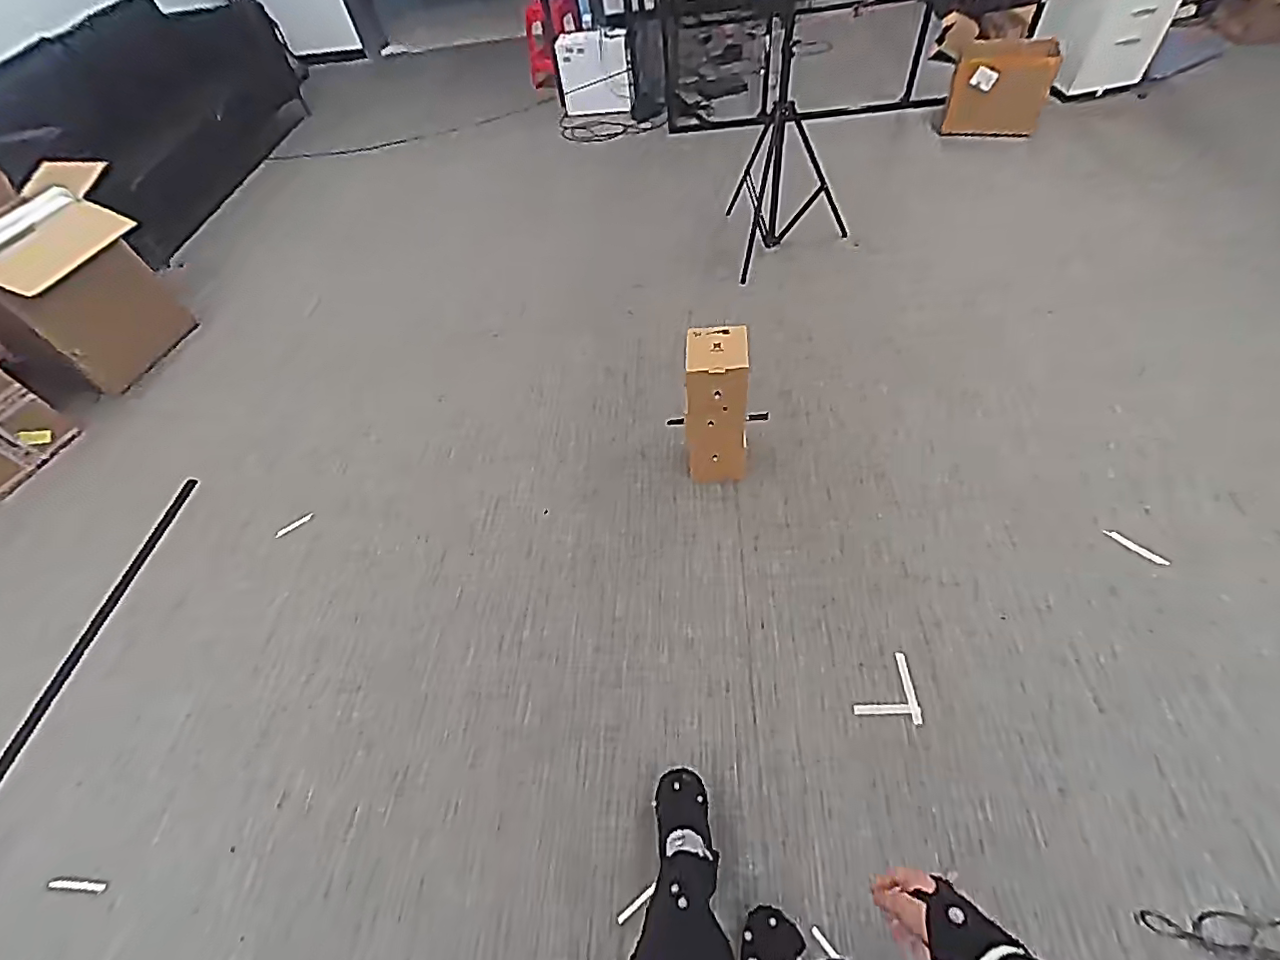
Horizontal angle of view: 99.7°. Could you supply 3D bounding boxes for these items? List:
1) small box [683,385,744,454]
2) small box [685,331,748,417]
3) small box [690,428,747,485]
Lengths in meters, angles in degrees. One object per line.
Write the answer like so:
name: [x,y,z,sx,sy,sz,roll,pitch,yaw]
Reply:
small box: [0.227,-0.191,1.643,0.179,0.176,0.168,0,55,9]
small box: [0.216,-0.290,1.514,0.168,0.176,0.179,0,55,8]
small box: [0.253,-0.096,1.776,0.179,0.176,0.168,-2,54,7]
